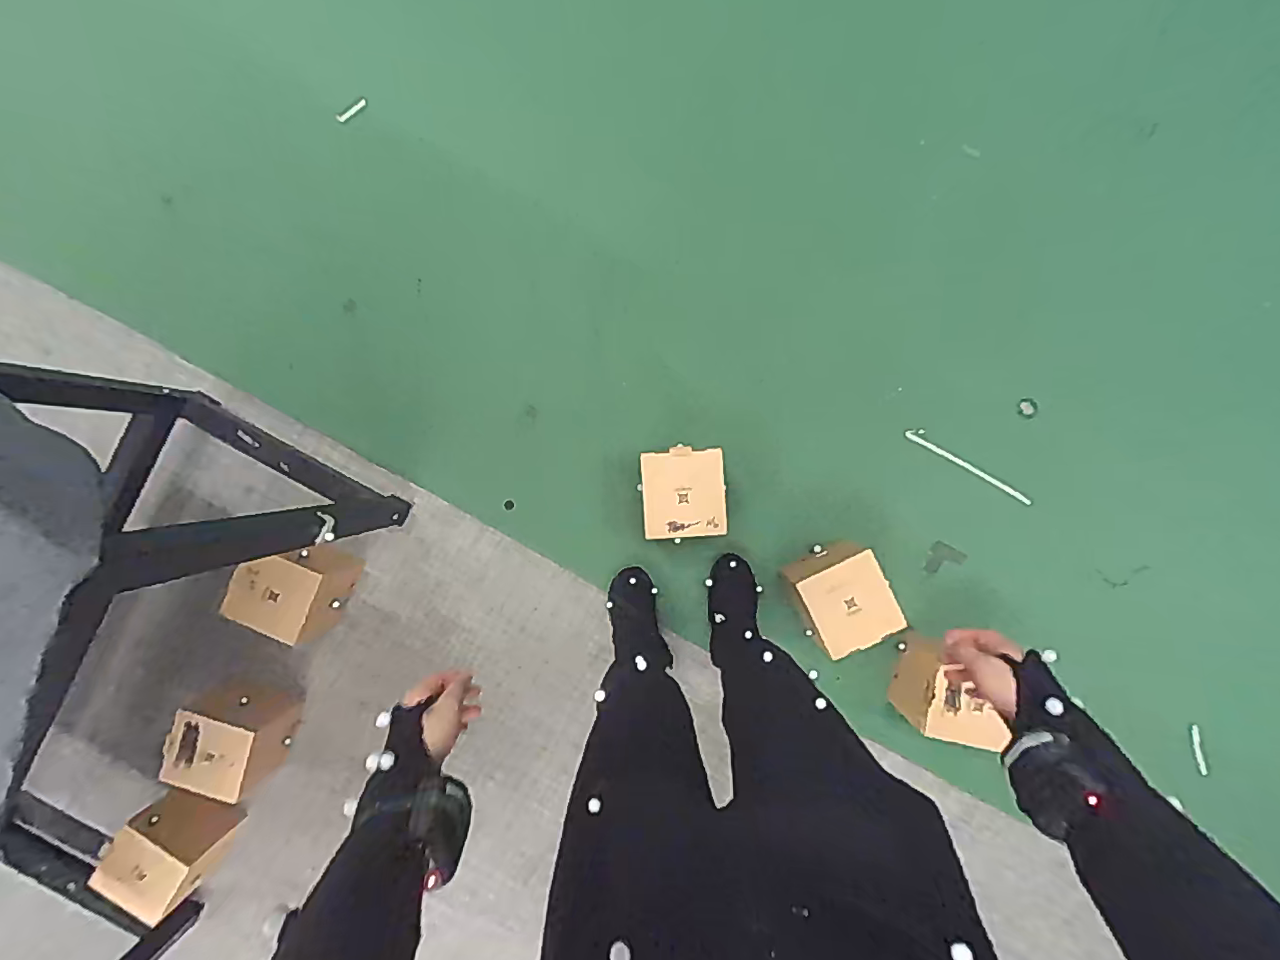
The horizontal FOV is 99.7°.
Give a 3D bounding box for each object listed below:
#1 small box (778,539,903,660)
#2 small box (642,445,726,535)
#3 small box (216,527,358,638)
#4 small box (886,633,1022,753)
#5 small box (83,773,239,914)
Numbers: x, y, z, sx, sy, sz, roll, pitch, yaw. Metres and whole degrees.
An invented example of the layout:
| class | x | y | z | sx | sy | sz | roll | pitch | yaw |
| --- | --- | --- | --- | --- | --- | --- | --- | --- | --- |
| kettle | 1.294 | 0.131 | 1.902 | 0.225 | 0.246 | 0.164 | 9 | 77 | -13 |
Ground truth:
| class | x | y | z | sx | sy | sz | roll | pitch | yaw |
| --- | --- | --- | --- | --- | --- | --- | --- | --- | --- |
| small box | 0.415 | 0.244 | 1.148 | 0.168 | 0.176 | 0.179 | -26 | 91 | 2 |
| small box | 0.088 | 0.019 | 1.150 | 0.168 | 0.176 | 0.179 | -3 | 92 | 2 |
| small box | -0.762 | 0.214 | 1.188 | 0.179 | 0.176 | 0.168 | 24 | 93 | 1 |
| small box | 0.653 | 0.440 | 1.148 | 0.179 | 0.176 | 0.168 | 13 | 93 | 1 |
| small box | -1.076 | 0.815 | 1.233 | 0.179 | 0.176 | 0.168 | 33 | 94 | 1 |
